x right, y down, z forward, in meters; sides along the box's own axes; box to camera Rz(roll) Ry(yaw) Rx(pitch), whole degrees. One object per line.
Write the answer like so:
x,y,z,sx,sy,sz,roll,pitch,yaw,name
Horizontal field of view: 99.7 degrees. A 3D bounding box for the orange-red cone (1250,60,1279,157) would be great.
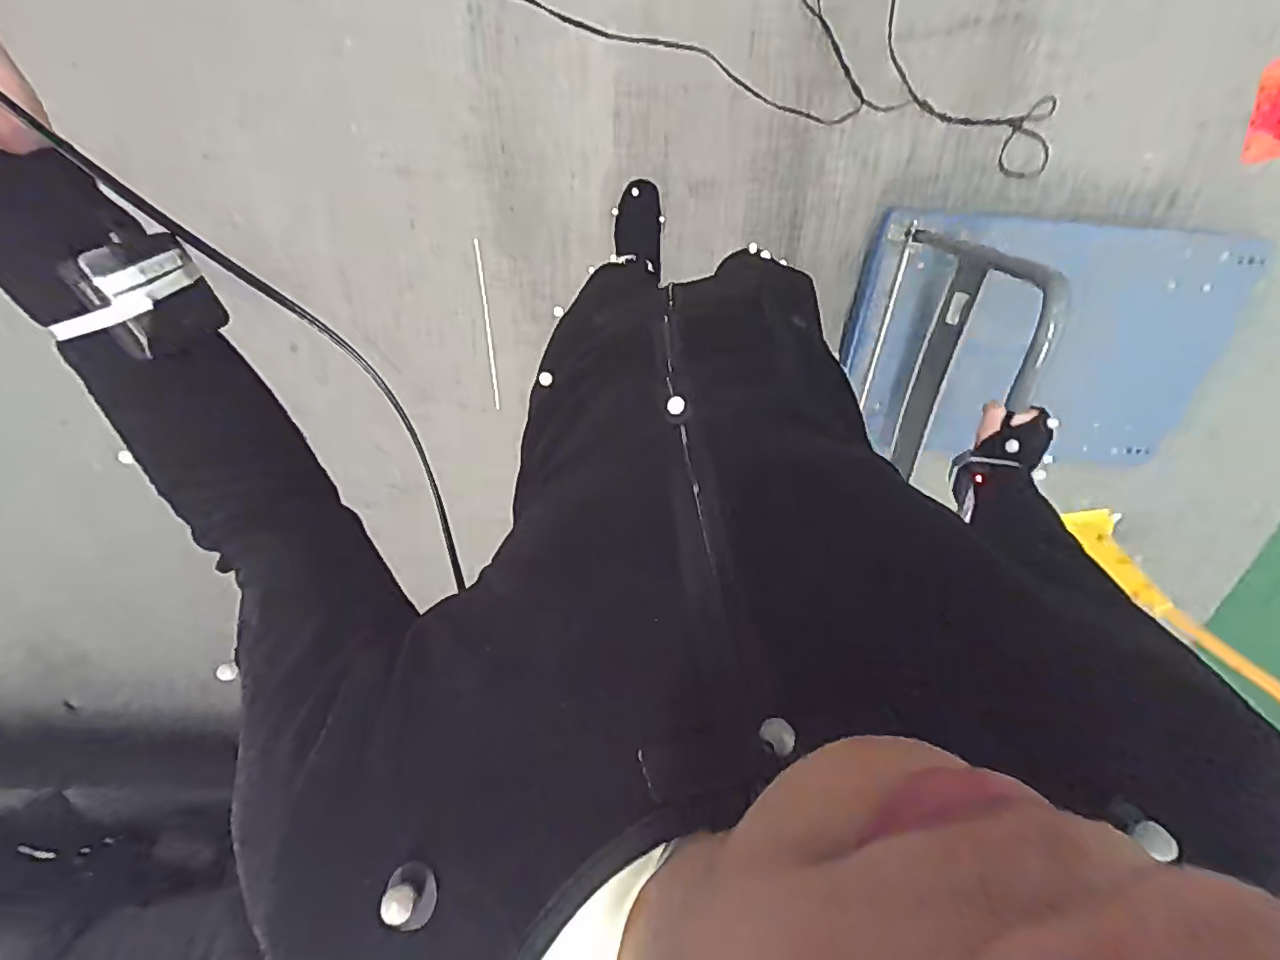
1.476,-0.762,1.048,0.198,0.360,0.199,-11,118,8,orange-red cone
